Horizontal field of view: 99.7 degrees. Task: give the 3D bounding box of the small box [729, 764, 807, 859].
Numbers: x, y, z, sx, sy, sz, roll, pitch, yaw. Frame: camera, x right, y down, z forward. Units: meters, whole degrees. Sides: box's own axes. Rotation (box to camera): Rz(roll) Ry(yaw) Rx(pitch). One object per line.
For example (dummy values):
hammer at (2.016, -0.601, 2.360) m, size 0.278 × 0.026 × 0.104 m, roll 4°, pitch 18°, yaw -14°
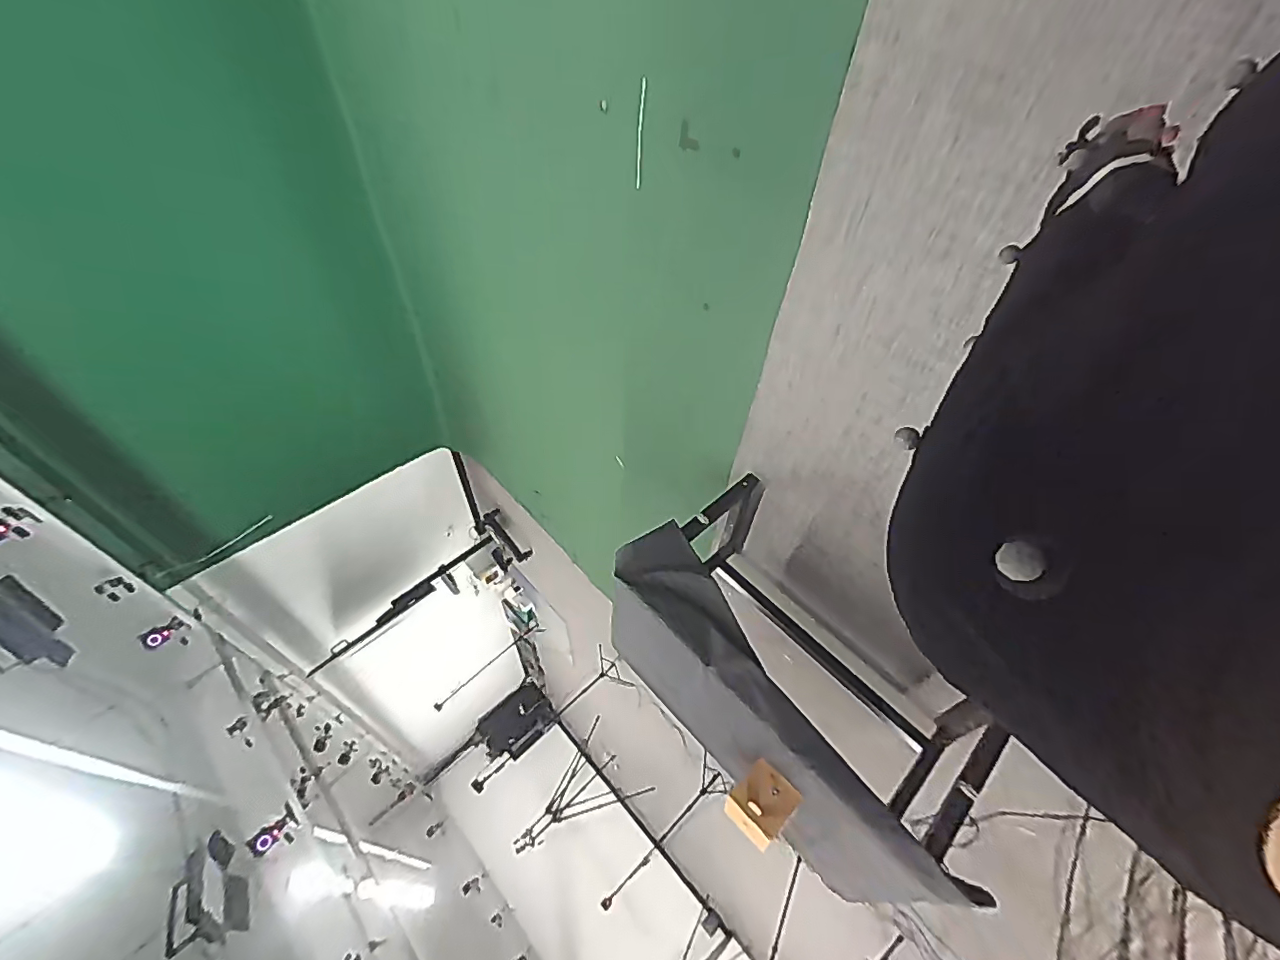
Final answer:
small box at (0.399, 1.031, 1.686) m, size 0.168 × 0.176 × 0.179 m, roll 36°, pitch 147°, yaw 33°
